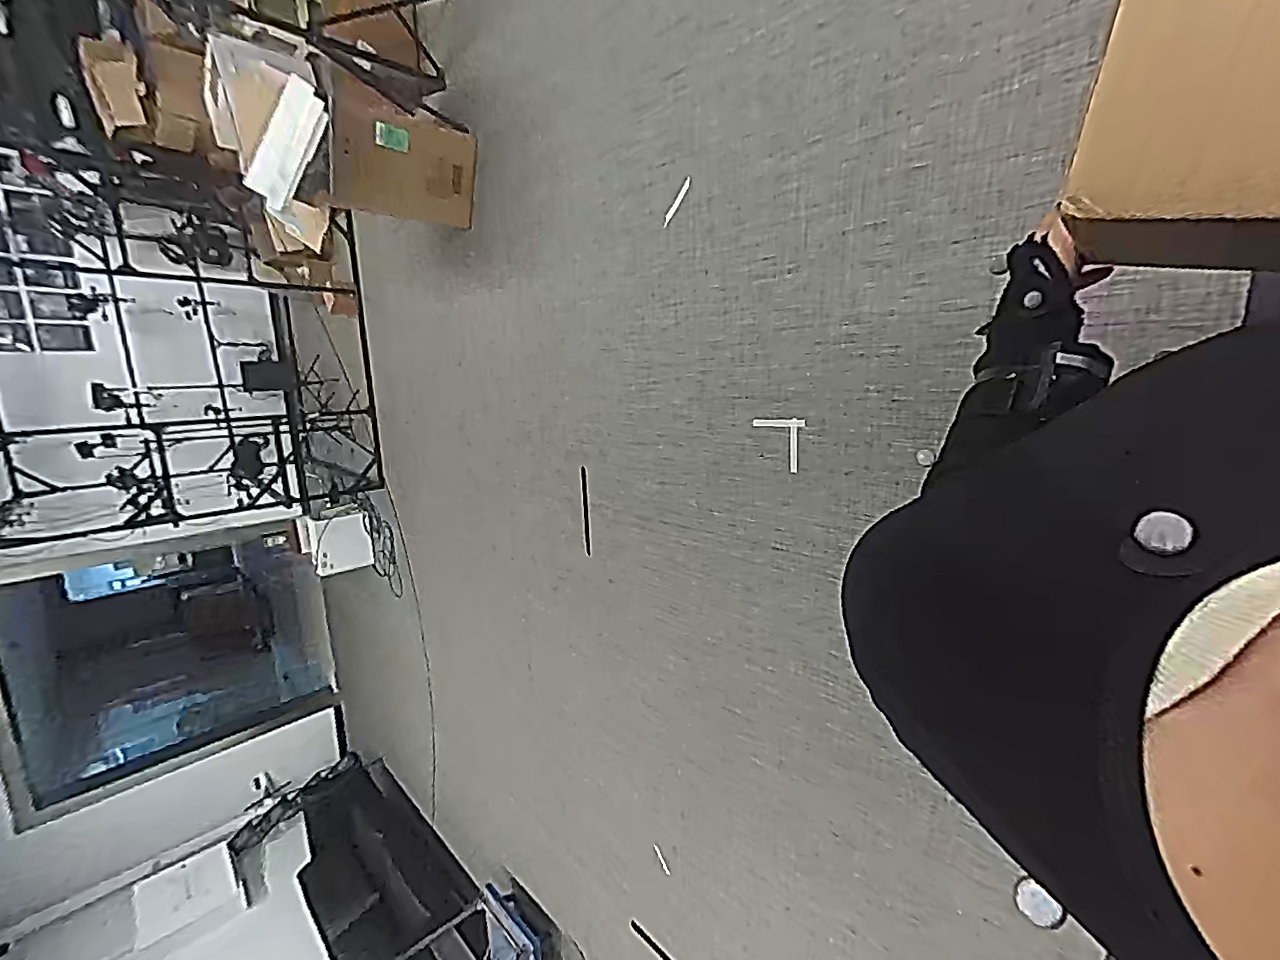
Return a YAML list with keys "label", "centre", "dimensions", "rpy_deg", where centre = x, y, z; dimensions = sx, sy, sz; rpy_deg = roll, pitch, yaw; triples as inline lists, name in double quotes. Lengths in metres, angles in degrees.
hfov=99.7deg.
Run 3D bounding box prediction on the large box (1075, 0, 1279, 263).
- label: "large box"
  centre: [0.472, -0.265, 0.221]
  dimensions: [0.408, 0.320, 0.320]
  rpy_deg: [19, 115, 35]
